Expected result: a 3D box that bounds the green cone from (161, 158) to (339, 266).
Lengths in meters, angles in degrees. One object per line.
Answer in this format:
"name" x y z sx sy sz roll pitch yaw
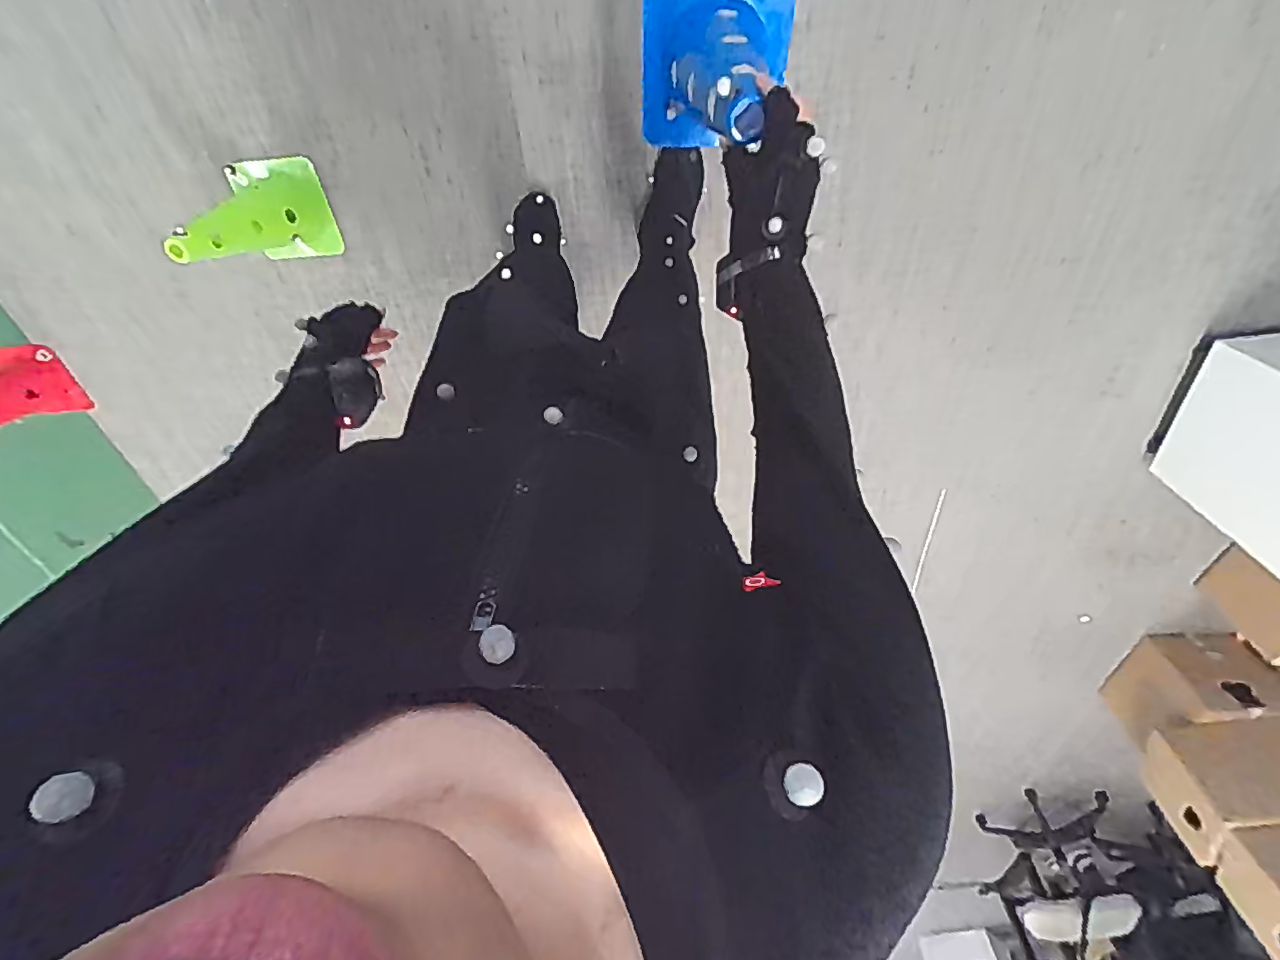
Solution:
"green cone" -0.806 -0.494 1.074 0.202 0.368 0.200 -4 127 5
